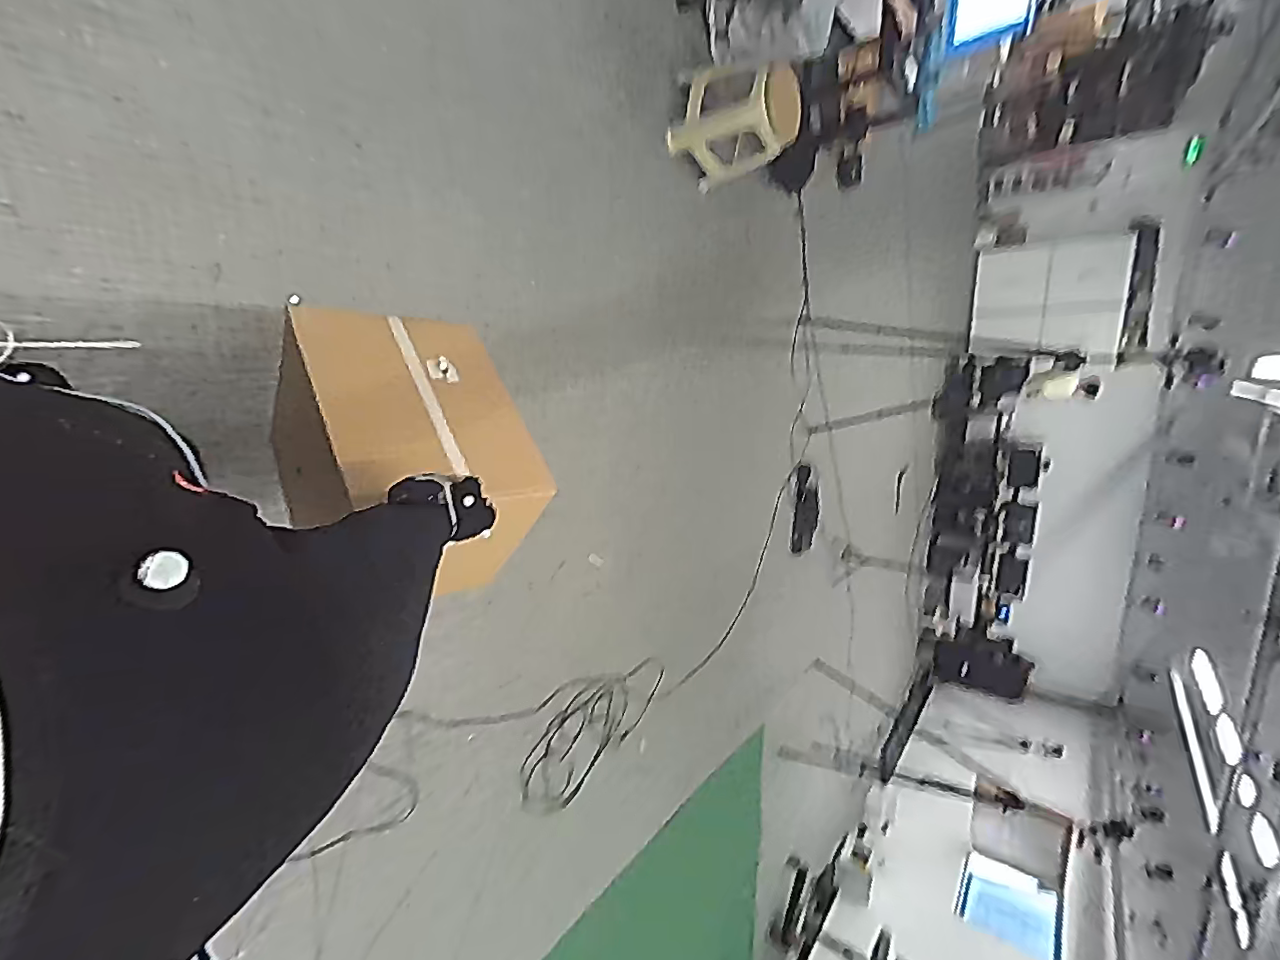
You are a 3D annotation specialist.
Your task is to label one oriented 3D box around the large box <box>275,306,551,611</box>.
[{"bbox_3d":[-0.423,-0.042,0.967,0.320,0.408,0.320,-6,146,-44],"label":"large box"}]
